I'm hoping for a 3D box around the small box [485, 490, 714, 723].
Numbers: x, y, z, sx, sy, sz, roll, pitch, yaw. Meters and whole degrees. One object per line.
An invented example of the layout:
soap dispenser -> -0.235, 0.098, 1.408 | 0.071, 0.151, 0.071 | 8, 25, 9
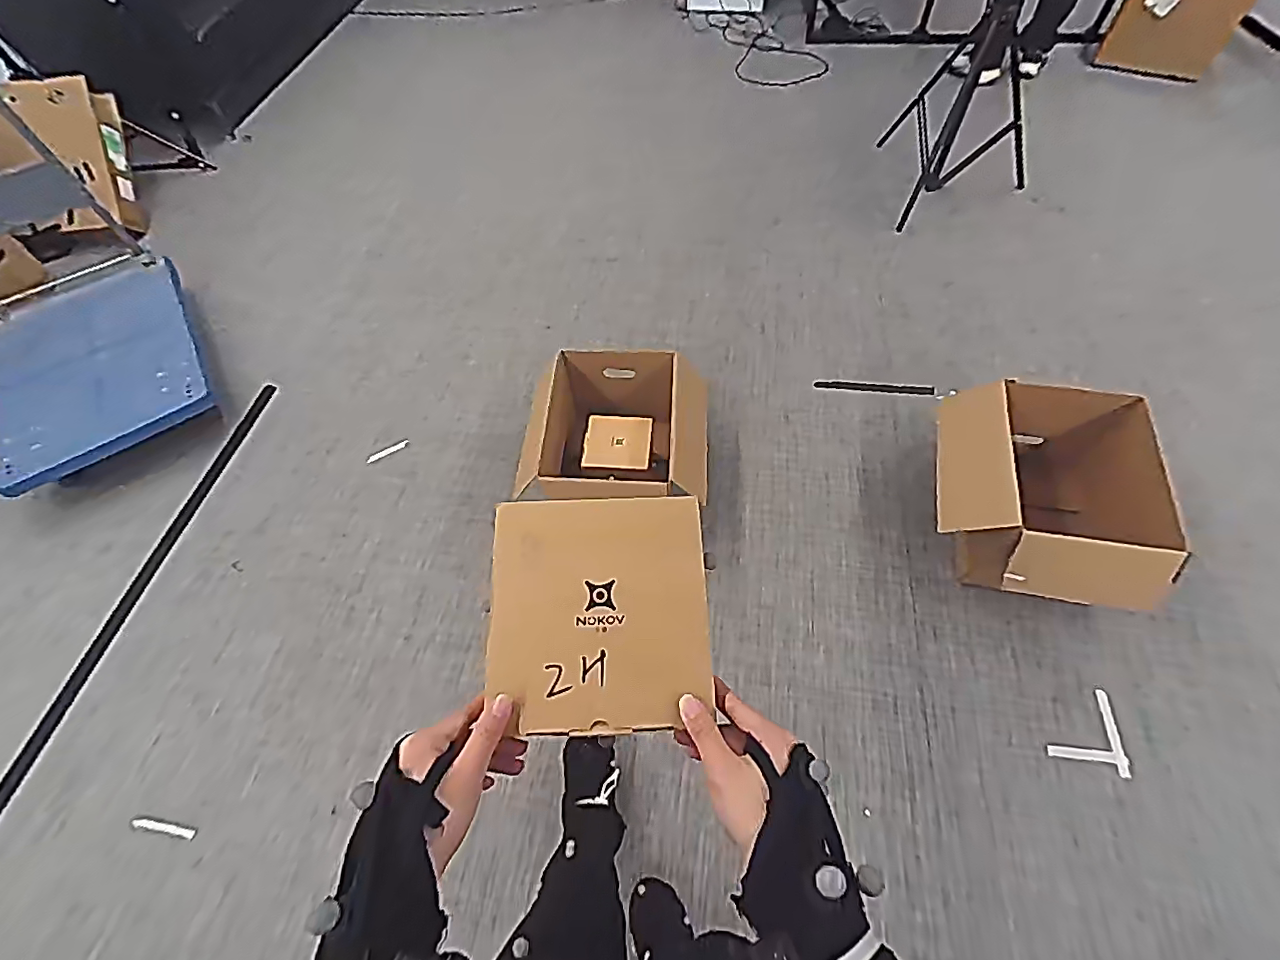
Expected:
small box -> -0.031, 0.120, 0.487 | 0.168, 0.176, 0.179 | -2, 68, -1
